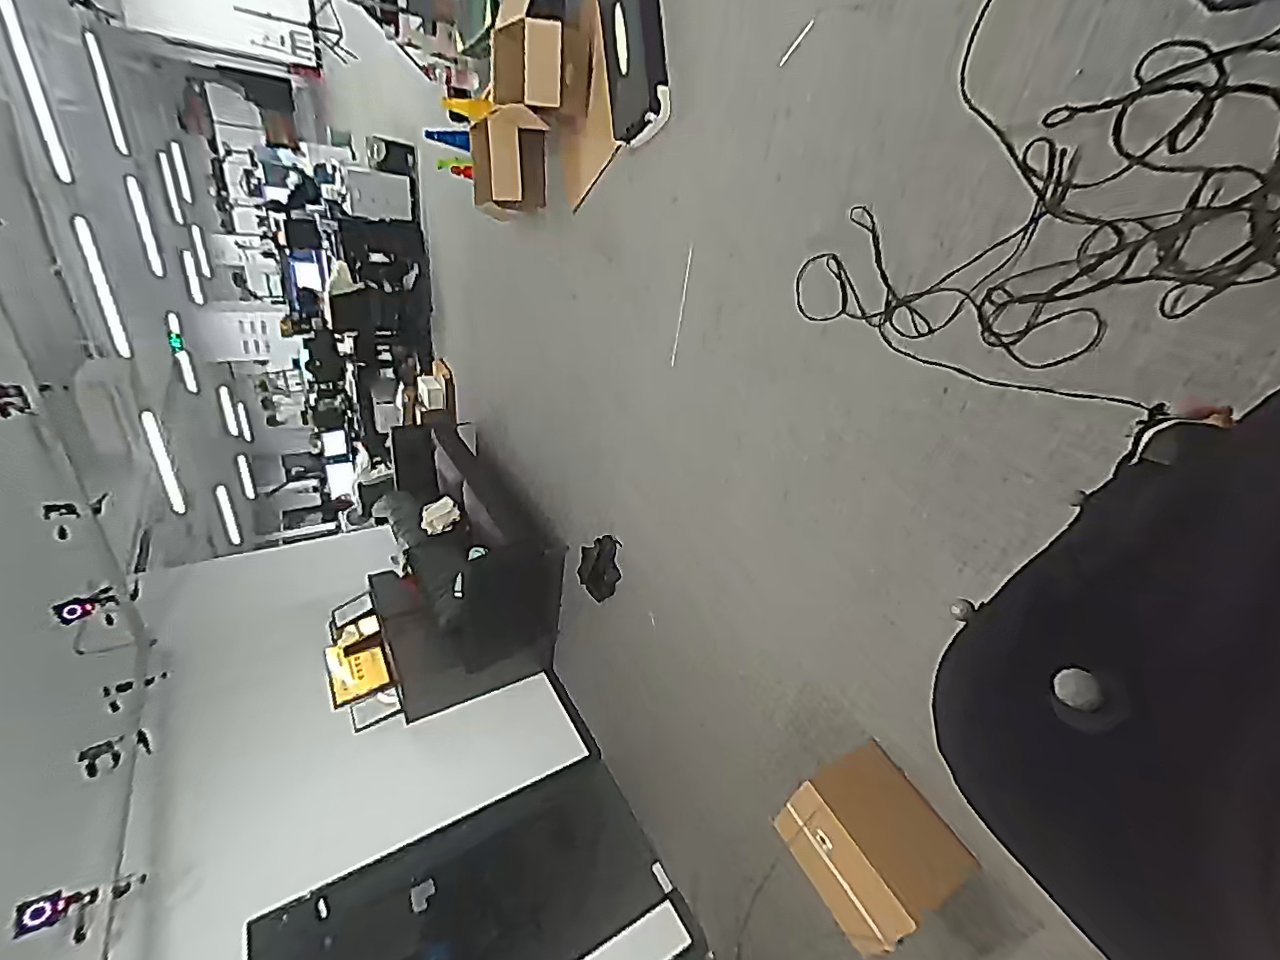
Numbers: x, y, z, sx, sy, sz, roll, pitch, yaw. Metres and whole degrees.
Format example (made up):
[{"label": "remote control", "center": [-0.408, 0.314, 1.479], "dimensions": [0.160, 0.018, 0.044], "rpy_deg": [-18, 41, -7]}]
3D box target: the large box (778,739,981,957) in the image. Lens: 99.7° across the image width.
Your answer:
[{"label": "large box", "center": [0.707, 1.094, 1.641], "dimensions": [0.408, 0.320, 0.320], "rpy_deg": [50, 138, 40]}]
